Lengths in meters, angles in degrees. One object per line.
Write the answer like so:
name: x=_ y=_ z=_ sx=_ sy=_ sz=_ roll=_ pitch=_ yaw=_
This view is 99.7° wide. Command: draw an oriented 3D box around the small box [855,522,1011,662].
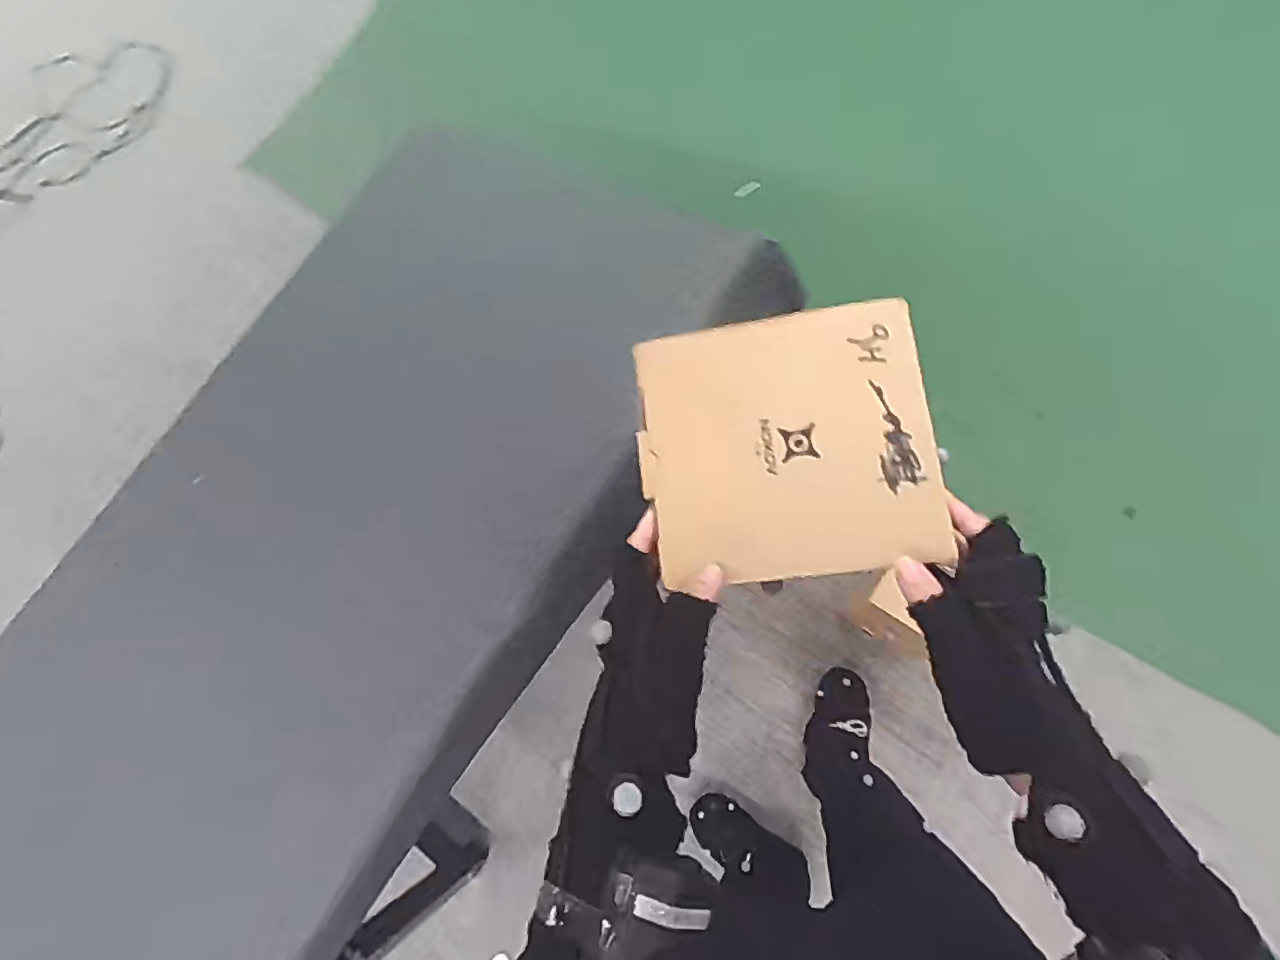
small box: x=0.516 y=0.206 z=0.983 sx=0.168 sy=0.176 sz=0.179 roll=36 pitch=84 yaw=19

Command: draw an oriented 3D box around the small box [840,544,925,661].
small box: x=0.543 y=0.256 z=1.138 sx=0.168 sy=0.176 sz=0.179 roll=35 pitch=84 yaw=19
